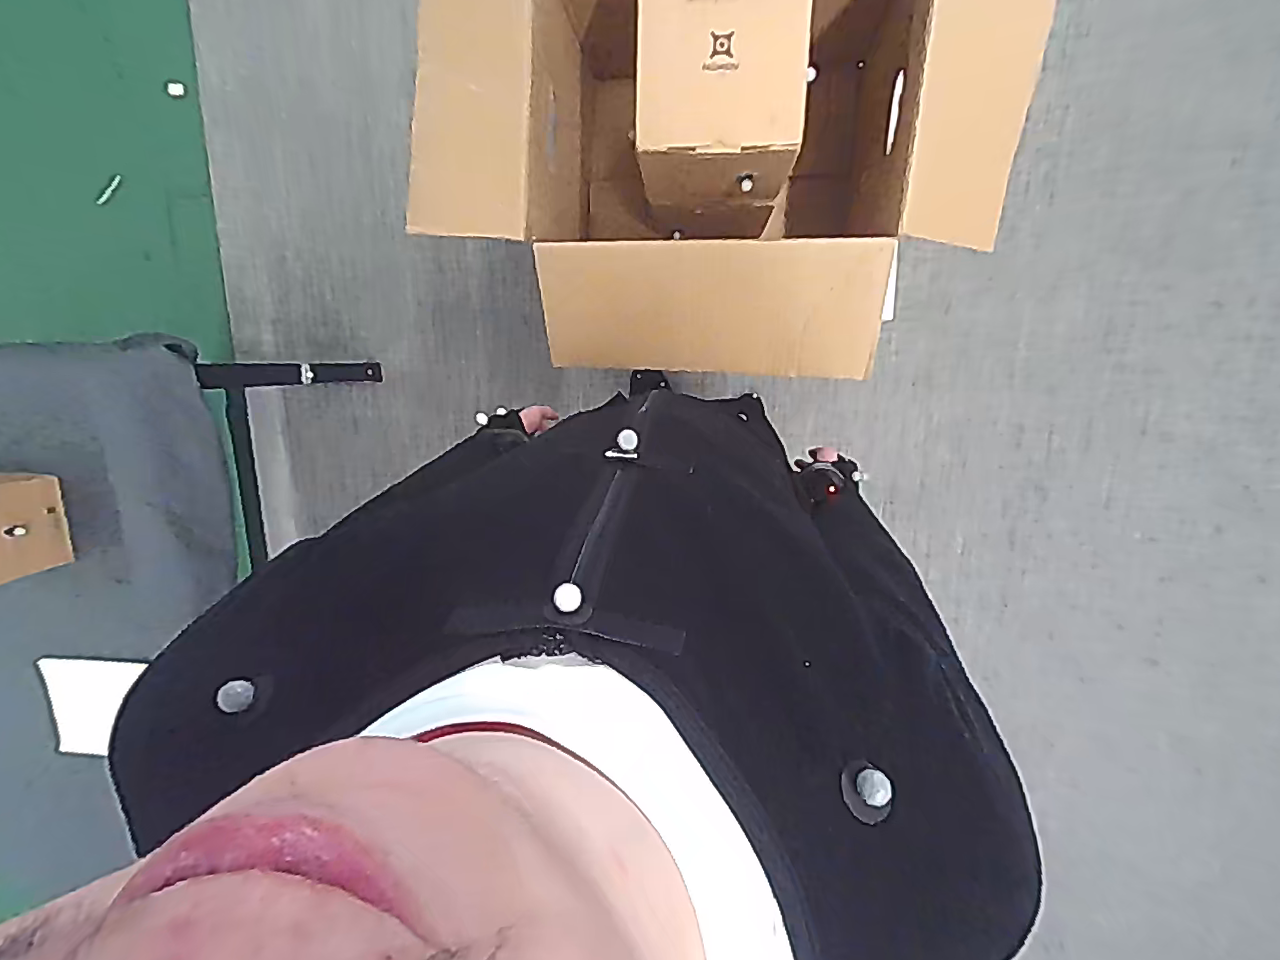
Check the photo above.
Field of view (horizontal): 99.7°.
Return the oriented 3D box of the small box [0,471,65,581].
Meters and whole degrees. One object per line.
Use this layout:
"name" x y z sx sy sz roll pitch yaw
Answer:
"small box" -1.135 0.080 0.911 0.179 0.176 0.168 2 102 6
